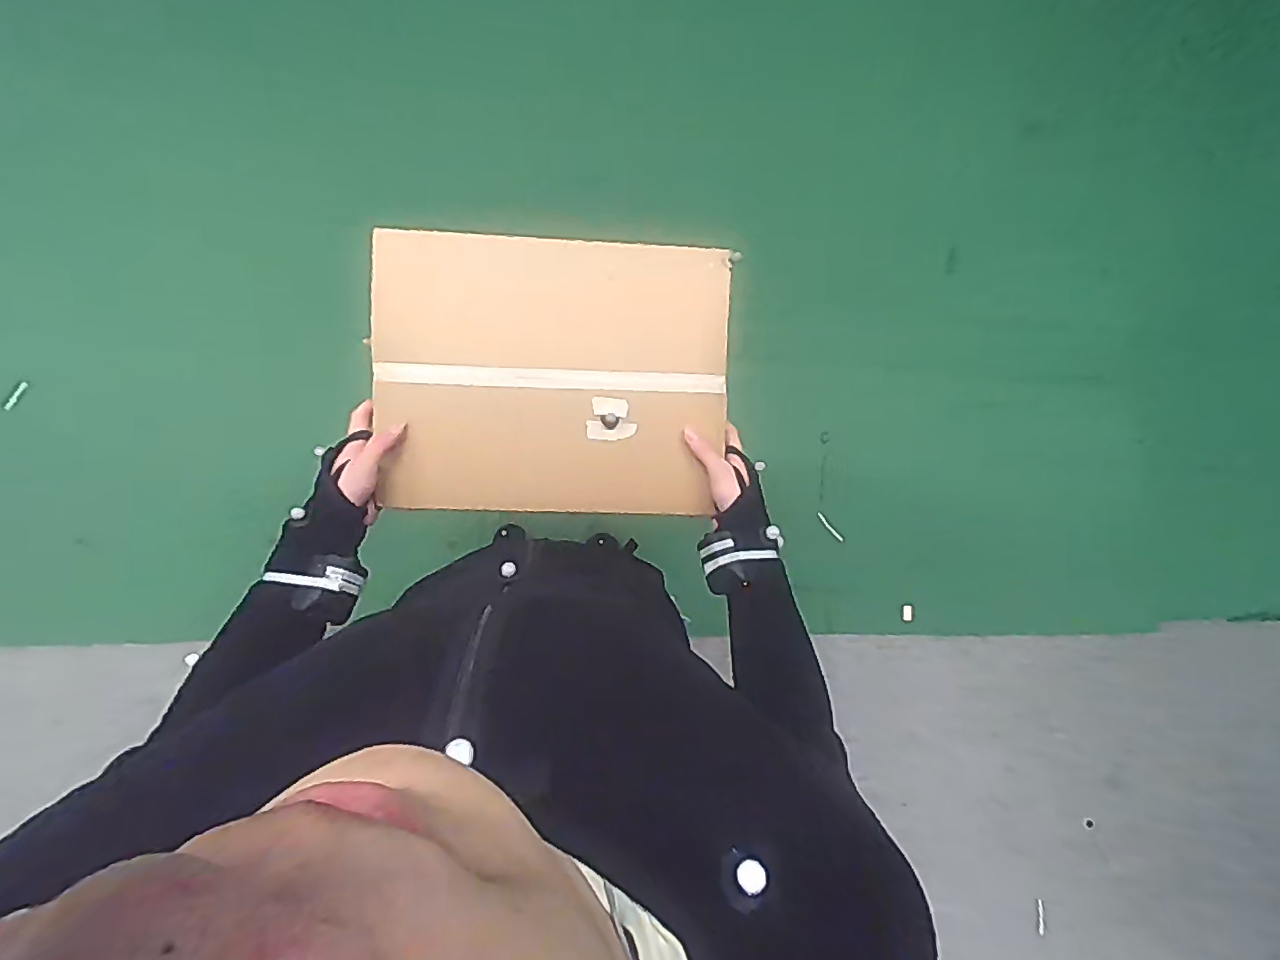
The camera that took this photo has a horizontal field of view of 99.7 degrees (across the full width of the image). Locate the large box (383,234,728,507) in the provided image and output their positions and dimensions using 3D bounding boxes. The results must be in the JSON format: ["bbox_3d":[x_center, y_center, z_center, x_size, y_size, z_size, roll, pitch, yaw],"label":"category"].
[{"bbox_3d":[-0.109,-0.133,0.783,0.408,0.320,0.320,1,95,-5],"label":"large box"}]
